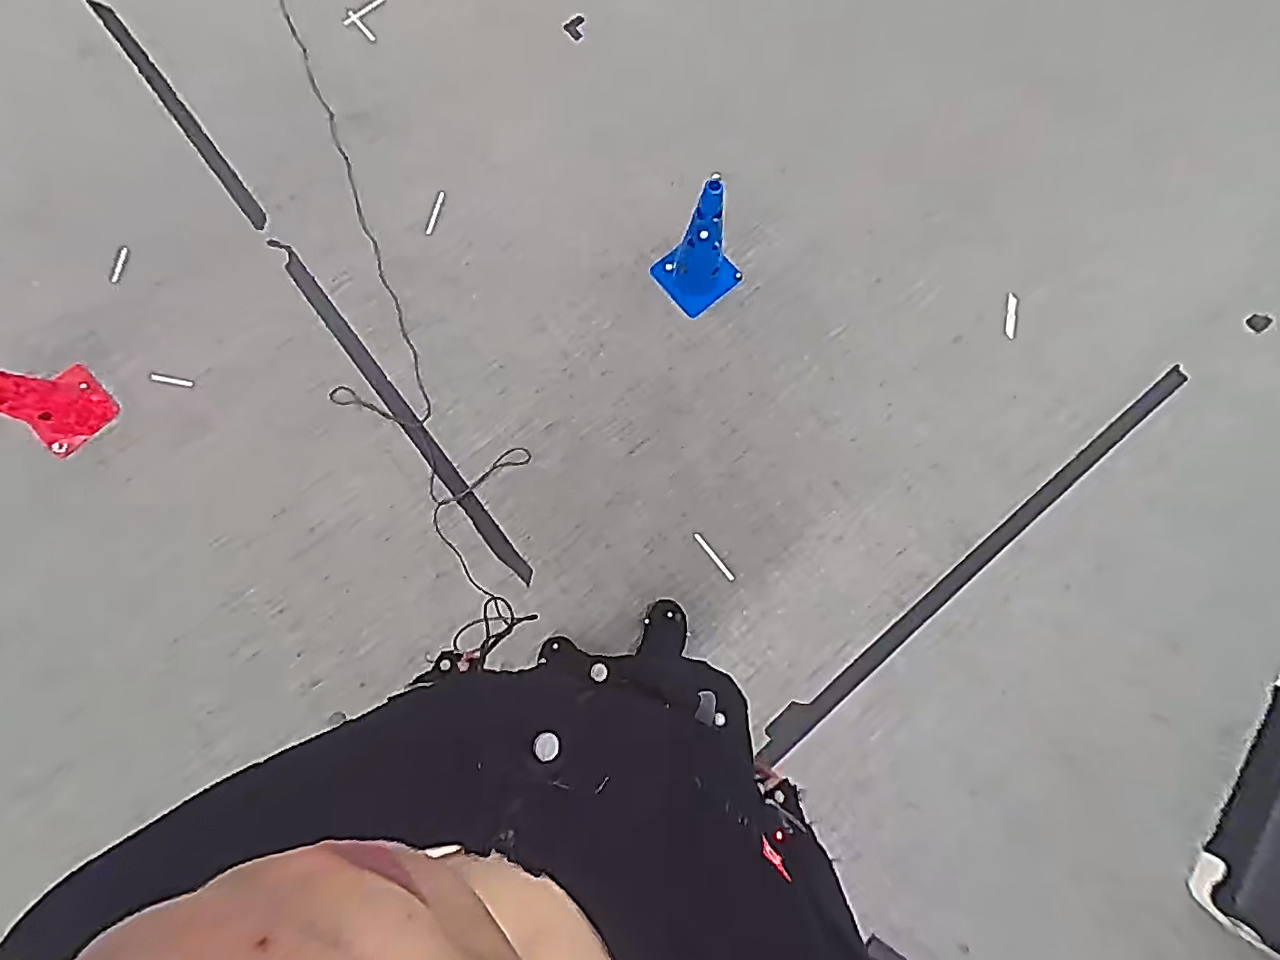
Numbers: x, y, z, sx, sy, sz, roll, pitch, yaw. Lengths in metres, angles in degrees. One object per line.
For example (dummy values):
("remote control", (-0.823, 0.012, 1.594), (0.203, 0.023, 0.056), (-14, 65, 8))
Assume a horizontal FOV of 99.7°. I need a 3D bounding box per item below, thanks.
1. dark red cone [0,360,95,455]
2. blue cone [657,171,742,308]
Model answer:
("dark red cone", (-1.546, -0.220, 1.250), (0.202, 0.394, 0.201), (43, 82, 7))
("blue cone", (0.166, -0.618, 1.354), (0.192, 0.380, 0.193), (-38, 82, -7))
